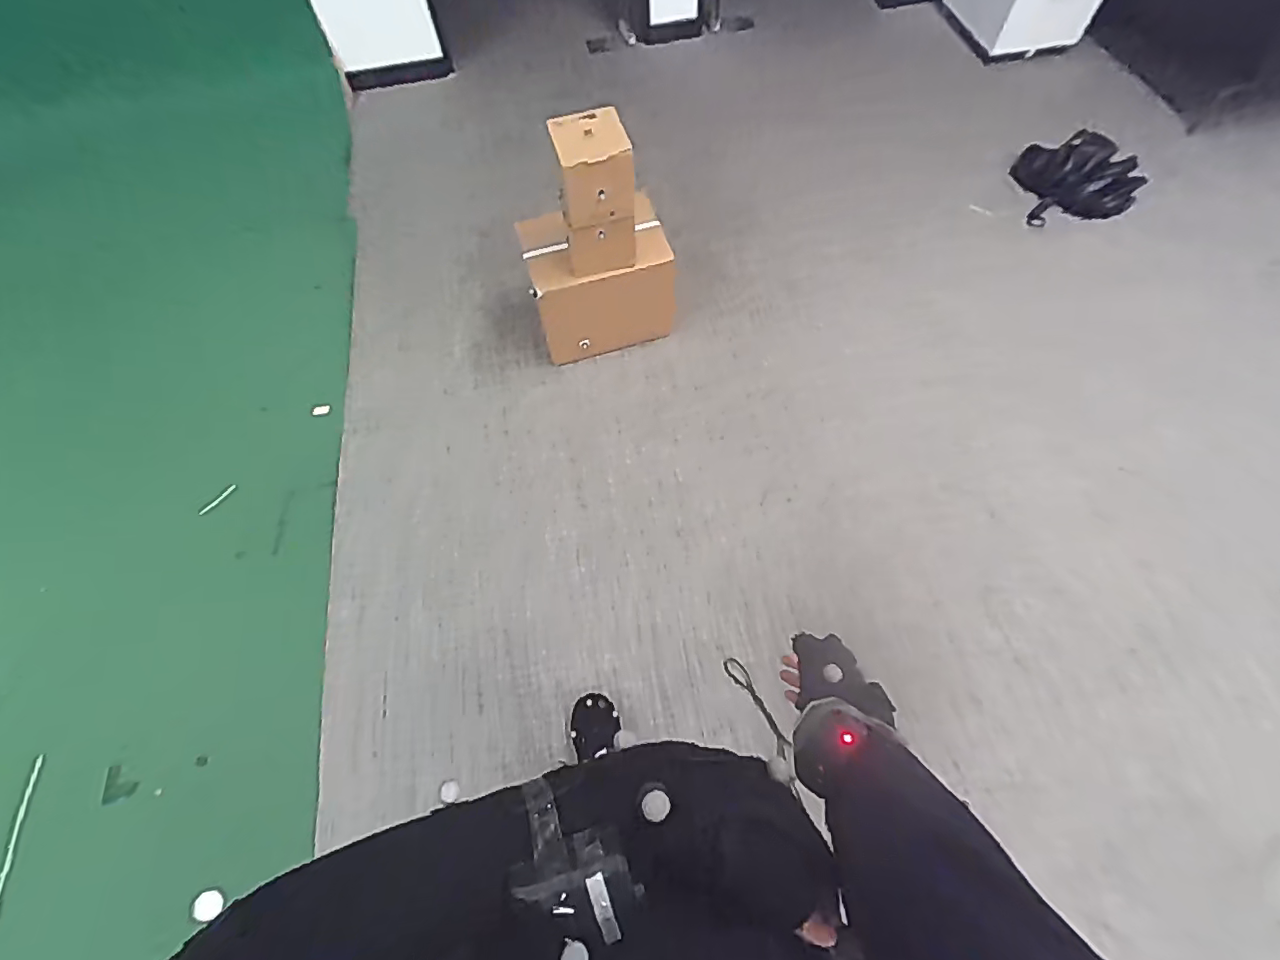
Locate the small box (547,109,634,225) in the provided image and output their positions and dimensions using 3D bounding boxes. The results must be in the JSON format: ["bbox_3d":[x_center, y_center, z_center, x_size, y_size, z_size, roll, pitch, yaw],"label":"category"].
[{"bbox_3d":[-0.114,-0.745,1.304,0.168,0.176,0.179,-15,66,-5],"label":"small box"}]

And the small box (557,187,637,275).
[{"bbox_3d":[-0.112,-0.677,1.453,0.179,0.176,0.168,-13,65,-5],"label":"small box"}]
